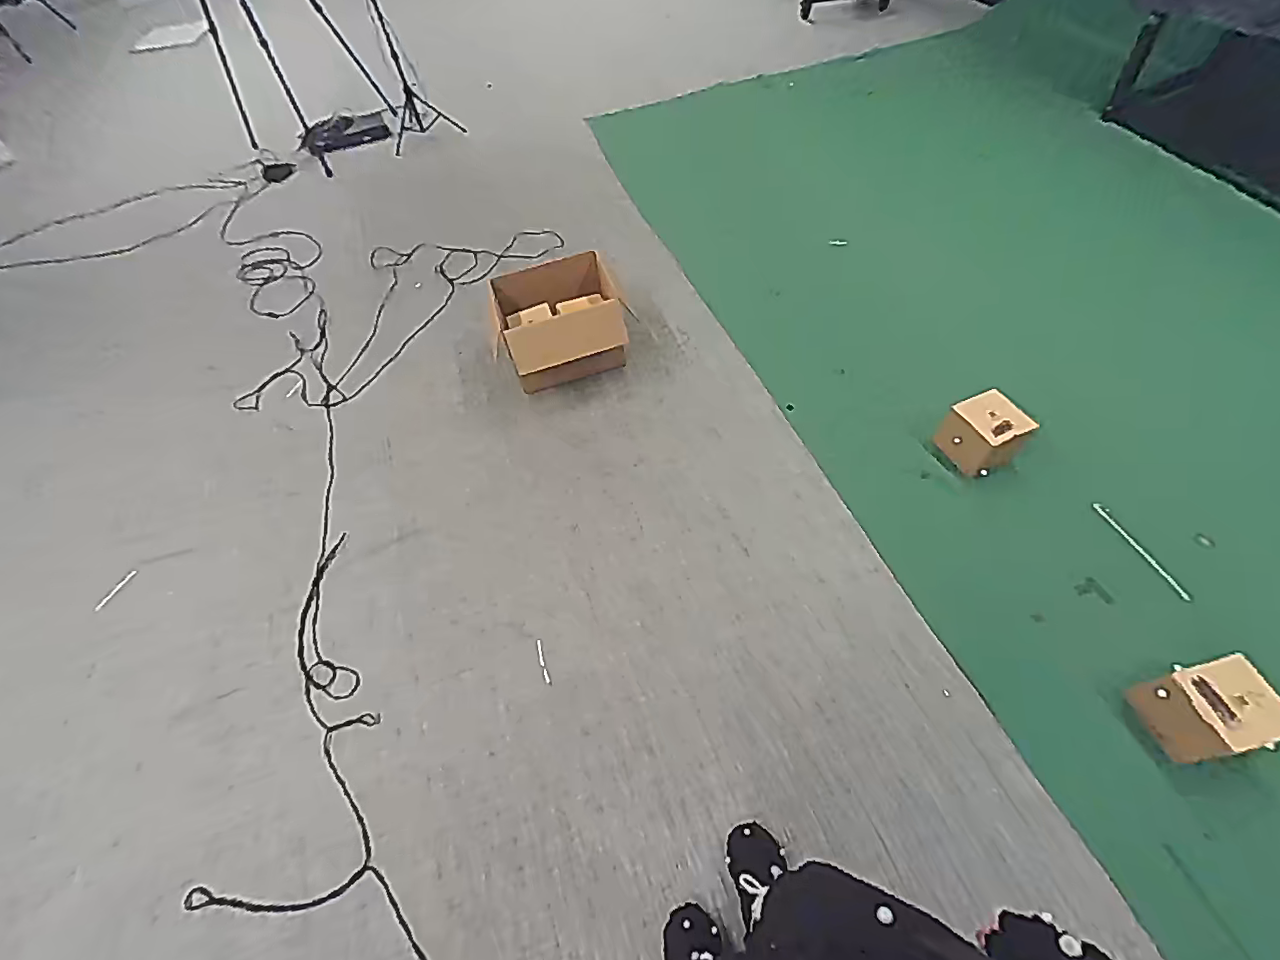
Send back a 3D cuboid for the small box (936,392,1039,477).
[{"bbox_3d":[1.052,-0.130,1.654,0.168,0.176,0.179,-21,55,-9],"label":"small box"}]
